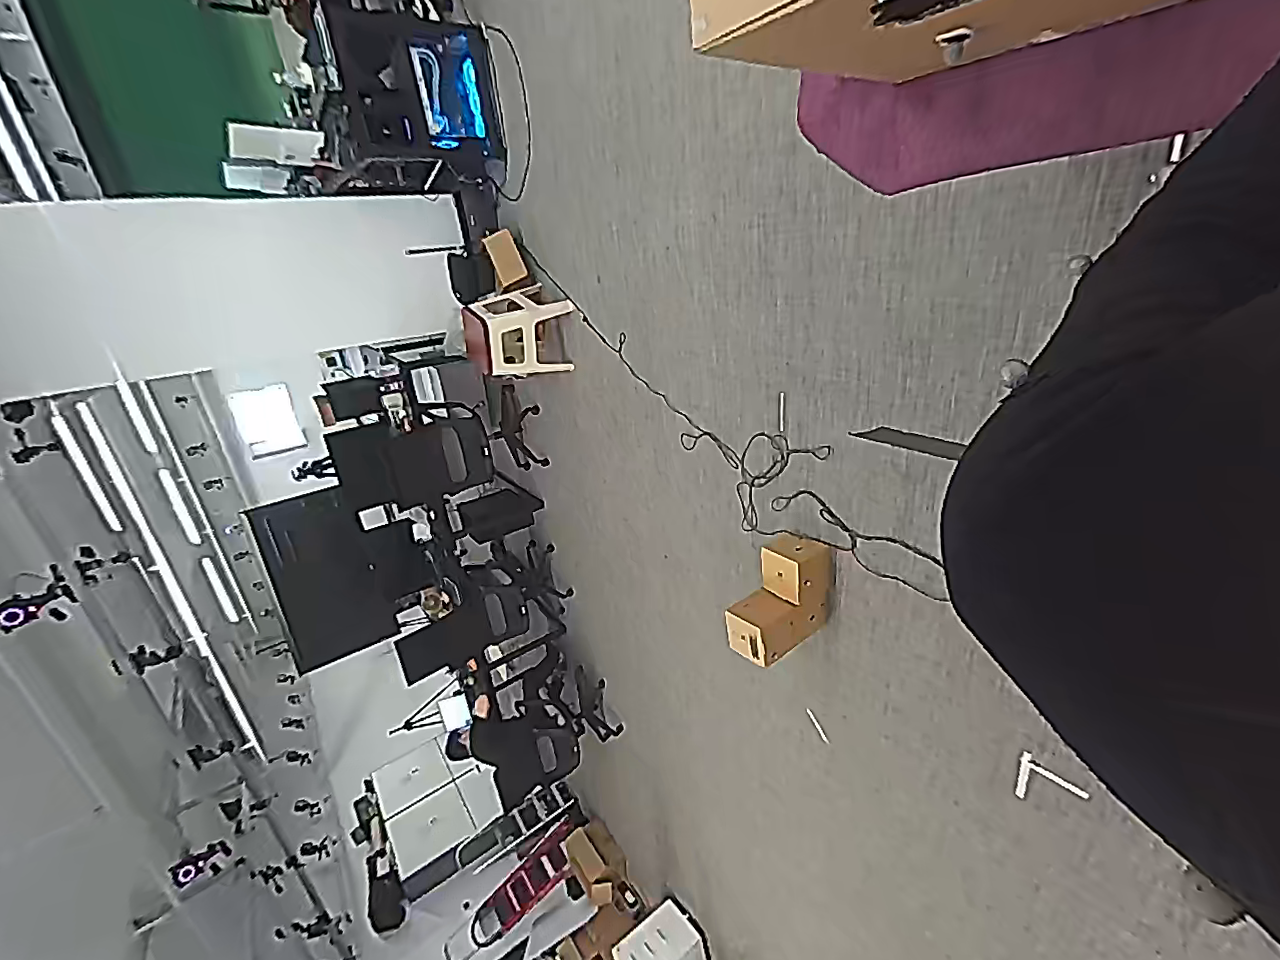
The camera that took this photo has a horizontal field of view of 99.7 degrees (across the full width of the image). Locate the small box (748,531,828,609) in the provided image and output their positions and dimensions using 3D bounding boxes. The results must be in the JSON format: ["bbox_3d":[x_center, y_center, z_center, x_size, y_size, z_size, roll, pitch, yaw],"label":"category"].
[{"bbox_3d":[0.510,0.313,1.871,0.179,0.176,0.168,40,126,25],"label":"small box"}]
